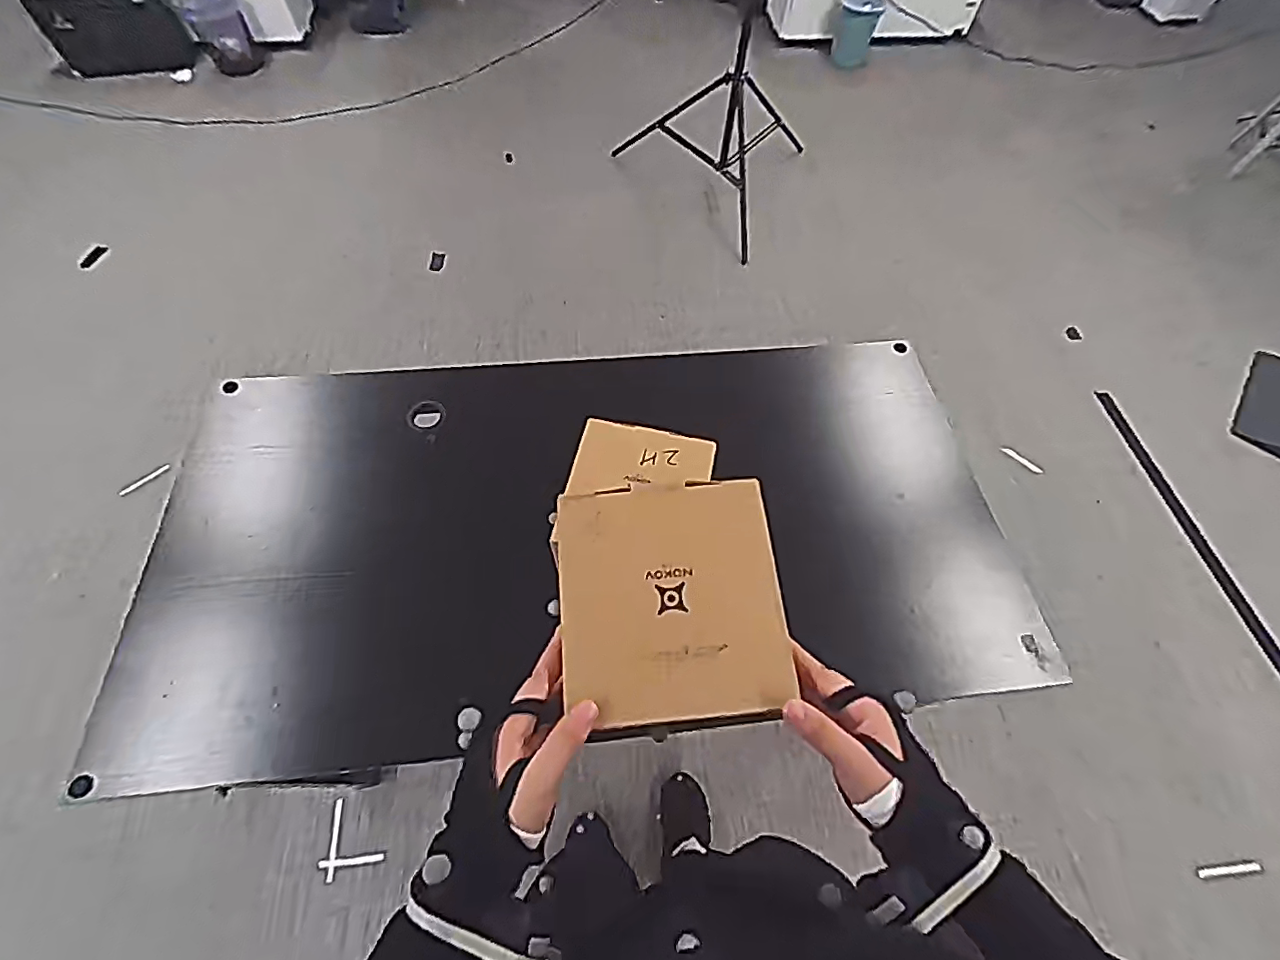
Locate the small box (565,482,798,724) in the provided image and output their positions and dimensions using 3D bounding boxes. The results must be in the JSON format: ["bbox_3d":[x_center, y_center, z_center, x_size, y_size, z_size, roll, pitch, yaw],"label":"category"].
[{"bbox_3d":[0.023,0.118,0.484,0.168,0.176,0.179,-5,67,-2],"label":"small box"}]

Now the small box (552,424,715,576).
[{"bbox_3d":[-0.005,0.057,0.712,0.168,0.176,0.179,12,60,4],"label":"small box"}]
